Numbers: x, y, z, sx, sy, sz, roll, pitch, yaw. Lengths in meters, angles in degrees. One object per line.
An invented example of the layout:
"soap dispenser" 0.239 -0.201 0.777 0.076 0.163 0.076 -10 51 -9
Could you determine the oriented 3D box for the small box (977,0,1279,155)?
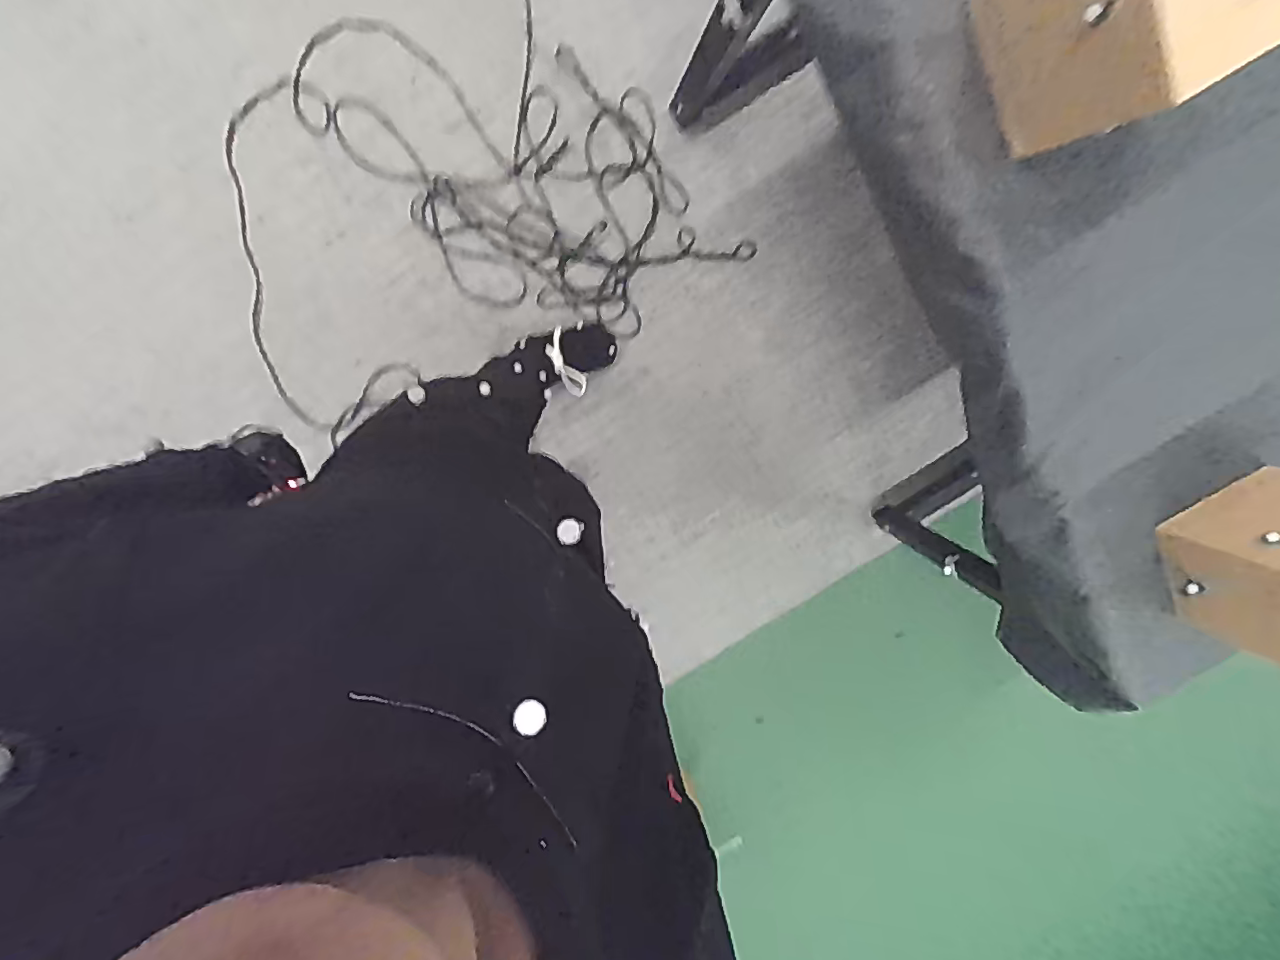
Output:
"small box" 0.434 -0.425 0.468 0.168 0.176 0.179 -30 110 2
